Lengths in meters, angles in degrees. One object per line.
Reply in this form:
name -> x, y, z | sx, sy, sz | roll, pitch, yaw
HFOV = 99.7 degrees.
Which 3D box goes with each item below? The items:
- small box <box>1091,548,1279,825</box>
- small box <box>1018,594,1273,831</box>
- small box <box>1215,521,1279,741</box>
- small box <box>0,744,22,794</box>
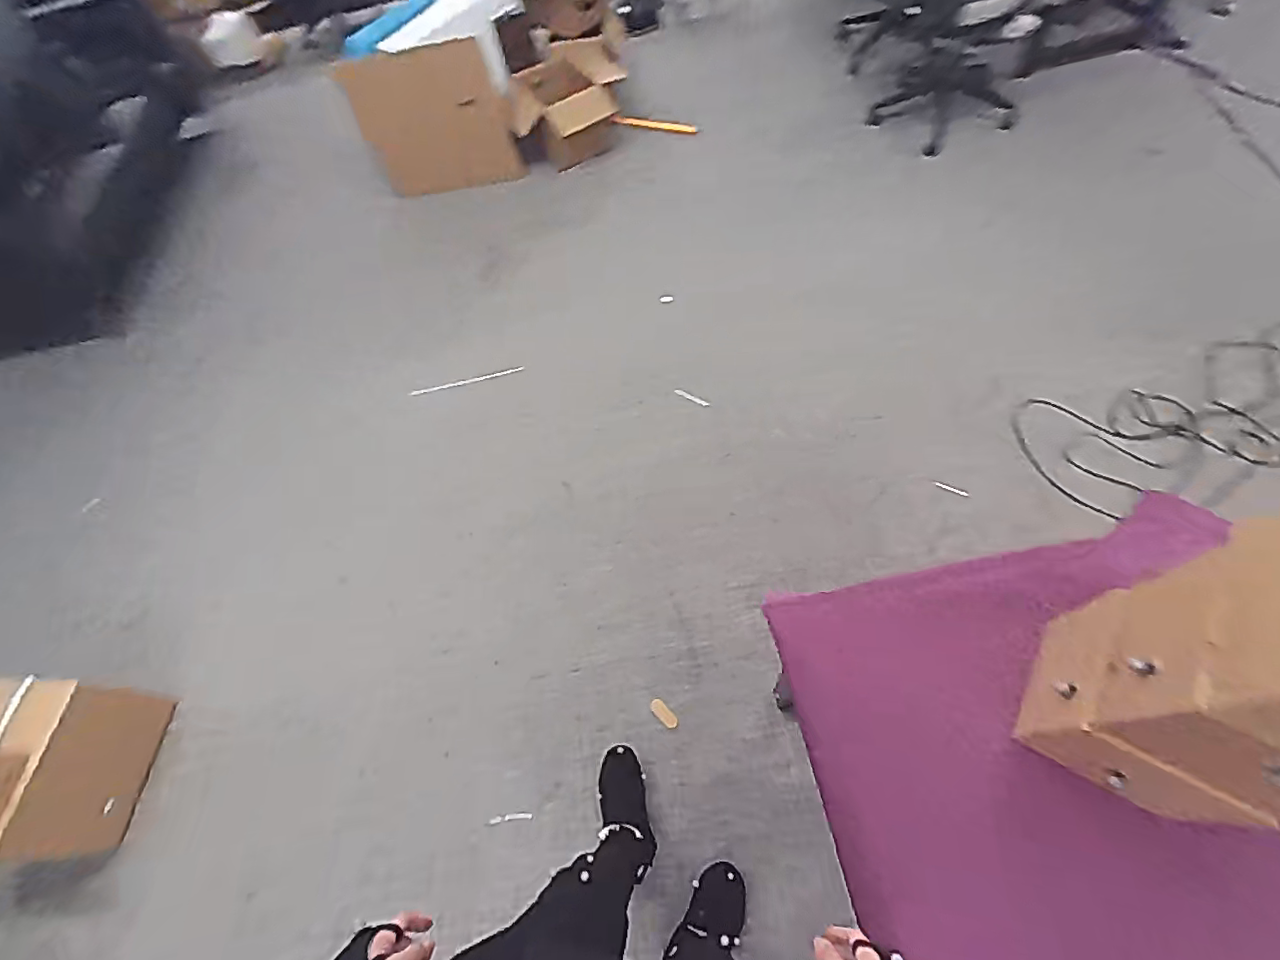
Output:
small box -> 0.565, 0.195, 0.490 | 0.179, 0.176, 0.168 | 27, 70, 22
small box -> 0.584, 0.269, 0.634 | 0.168, 0.176, 0.179 | 27, 69, 21
small box -> 0.542, 0.113, 0.353 | 0.168, 0.176, 0.179 | 25, 69, 22
small box -> -1.610, 0.695, 1.237 | 0.179, 0.176, 0.168 | -4, 60, 5
